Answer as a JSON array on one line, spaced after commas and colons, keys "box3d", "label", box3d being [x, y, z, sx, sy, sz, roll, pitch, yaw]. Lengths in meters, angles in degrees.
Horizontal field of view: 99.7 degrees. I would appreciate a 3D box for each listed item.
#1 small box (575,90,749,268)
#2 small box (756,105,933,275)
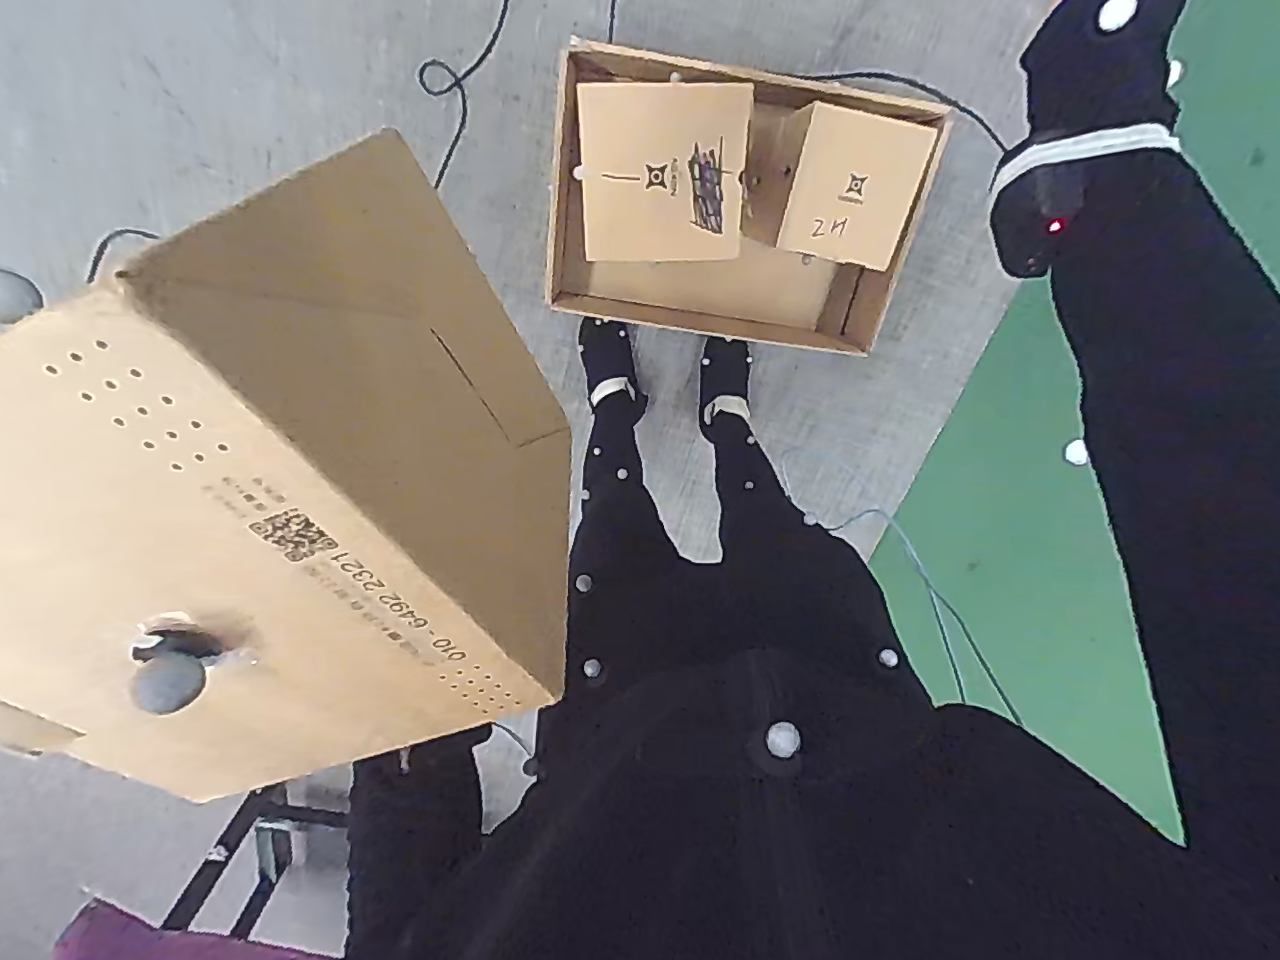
[{"box3d": [0.019, -0.350, 0.639, 0.179, 0.176, 0.168, -1, 119, 0], "label": "small box"}, {"box3d": [0.279, -0.415, 0.787, 0.168, 0.176, 0.179, 10, 118, -4], "label": "small box"}]
